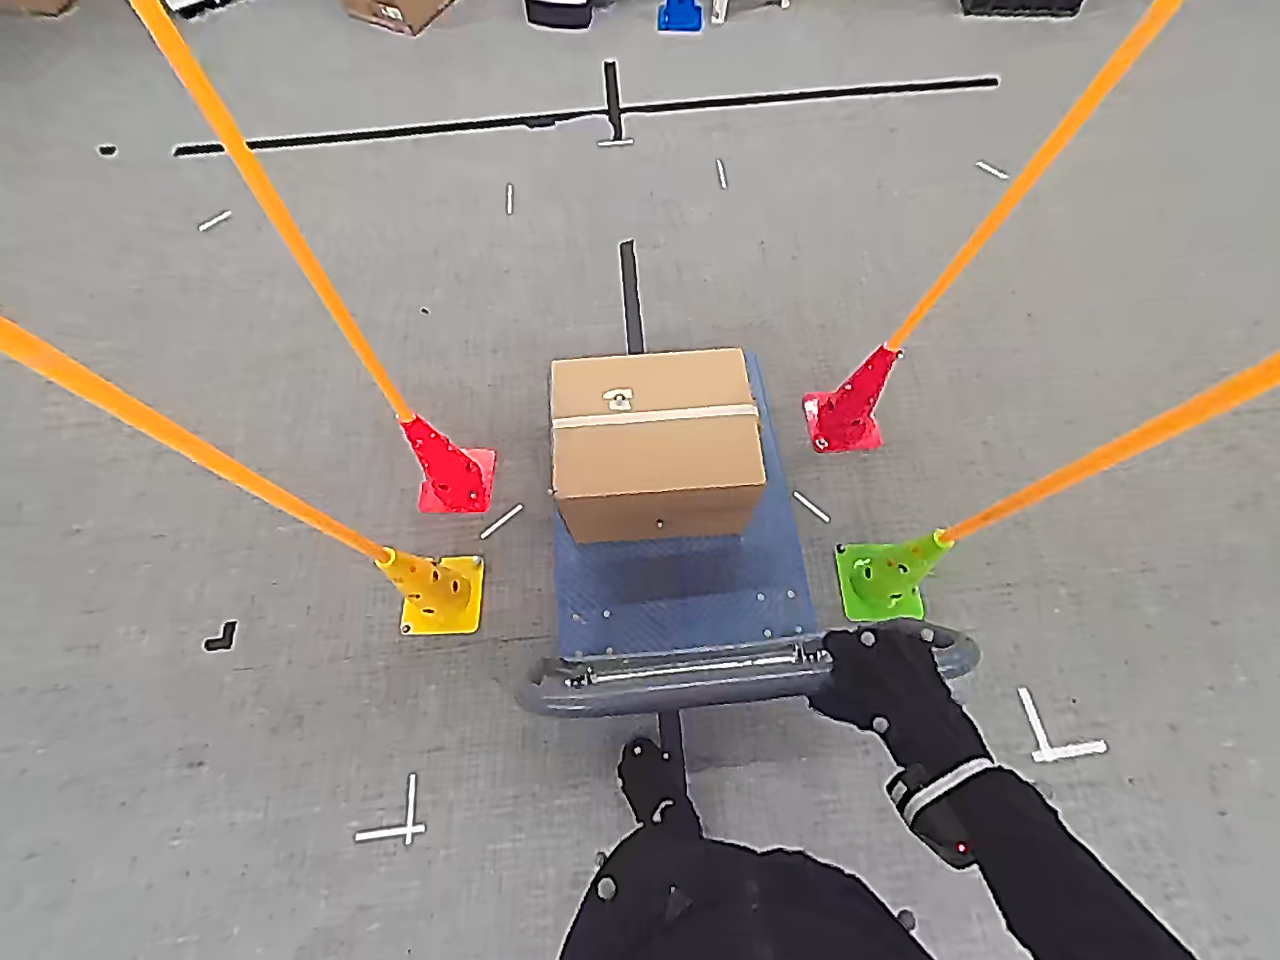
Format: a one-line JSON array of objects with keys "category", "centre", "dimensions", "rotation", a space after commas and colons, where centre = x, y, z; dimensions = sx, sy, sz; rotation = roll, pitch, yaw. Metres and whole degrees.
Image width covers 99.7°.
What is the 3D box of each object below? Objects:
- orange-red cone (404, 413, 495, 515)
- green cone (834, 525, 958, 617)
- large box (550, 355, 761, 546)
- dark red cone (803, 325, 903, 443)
[{"category": "orange-red cone", "centre": [-0.525, -0.067, 1.398], "dimensions": [0.198, 0.360, 0.199], "rotation": [2, 65, 1]}, {"category": "green cone", "centre": [0.618, 0.186, 1.253], "dimensions": [0.202, 0.368, 0.200], "rotation": [-2, 66, -1]}, {"category": "large box", "centre": [0.027, -0.050, 1.219], "dimensions": [0.408, 0.320, 0.320], "rotation": [-5, 67, 0]}, {"category": "dark red cone", "centre": [0.591, -0.264, 1.434], "dimensions": [0.201, 0.394, 0.202], "rotation": [-5, 66, -3]}]
